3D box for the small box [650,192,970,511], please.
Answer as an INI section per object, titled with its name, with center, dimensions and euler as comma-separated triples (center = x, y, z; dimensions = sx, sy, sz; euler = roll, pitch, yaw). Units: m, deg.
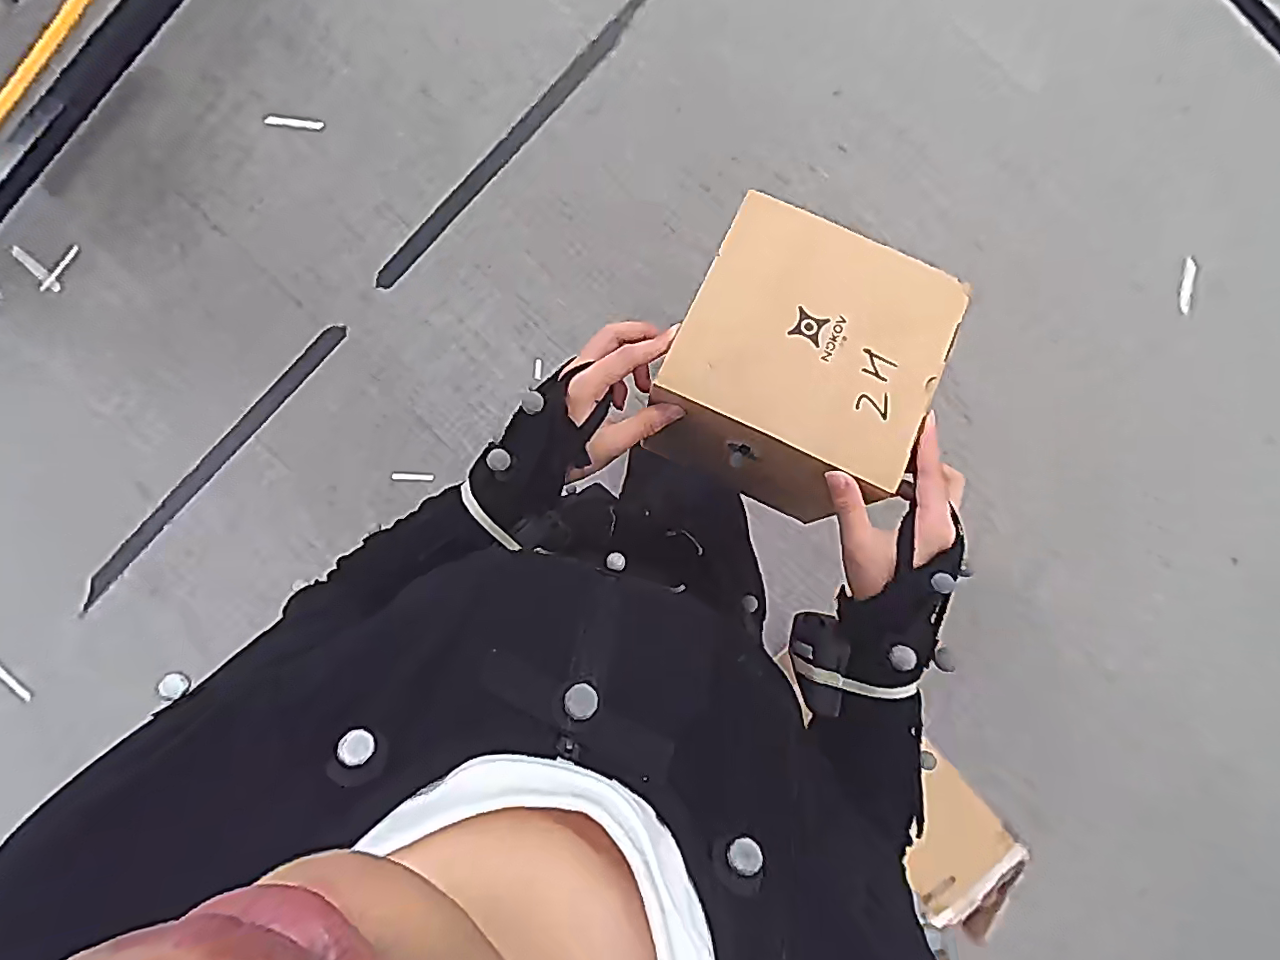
[small box]
center = 0.117, -0.085, 0.445
dimensions = 0.179, 0.176, 0.168
euler = 24, 80, 3
